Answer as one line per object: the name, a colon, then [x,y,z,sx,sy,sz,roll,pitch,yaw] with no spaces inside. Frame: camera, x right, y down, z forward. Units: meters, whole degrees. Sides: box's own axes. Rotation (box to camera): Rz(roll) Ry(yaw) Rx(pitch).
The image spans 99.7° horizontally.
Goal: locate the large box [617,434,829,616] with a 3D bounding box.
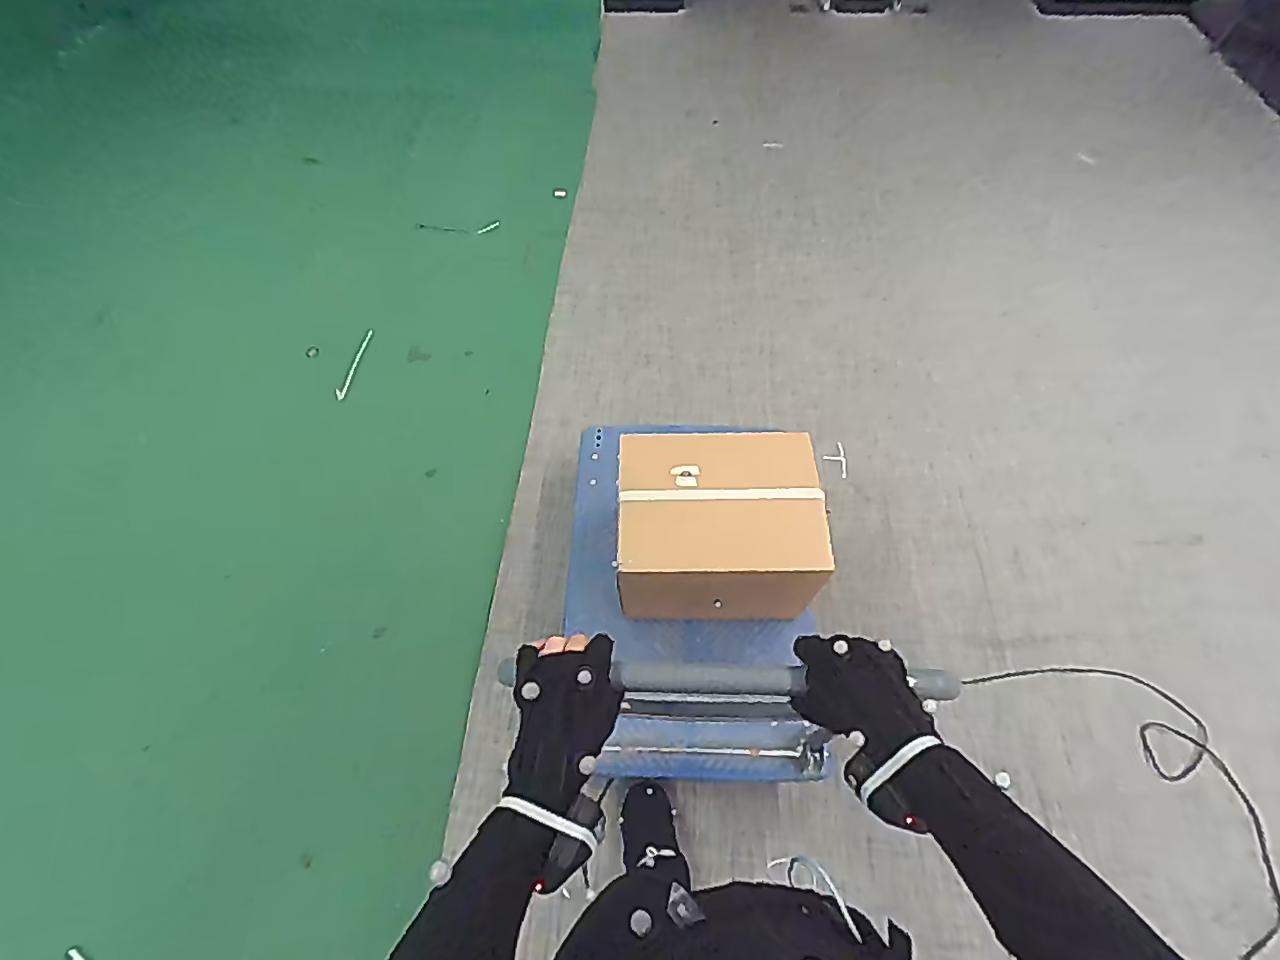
large box: [0.163,0.113,1.215,0.408,0.320,0.320,-1,60,3]
